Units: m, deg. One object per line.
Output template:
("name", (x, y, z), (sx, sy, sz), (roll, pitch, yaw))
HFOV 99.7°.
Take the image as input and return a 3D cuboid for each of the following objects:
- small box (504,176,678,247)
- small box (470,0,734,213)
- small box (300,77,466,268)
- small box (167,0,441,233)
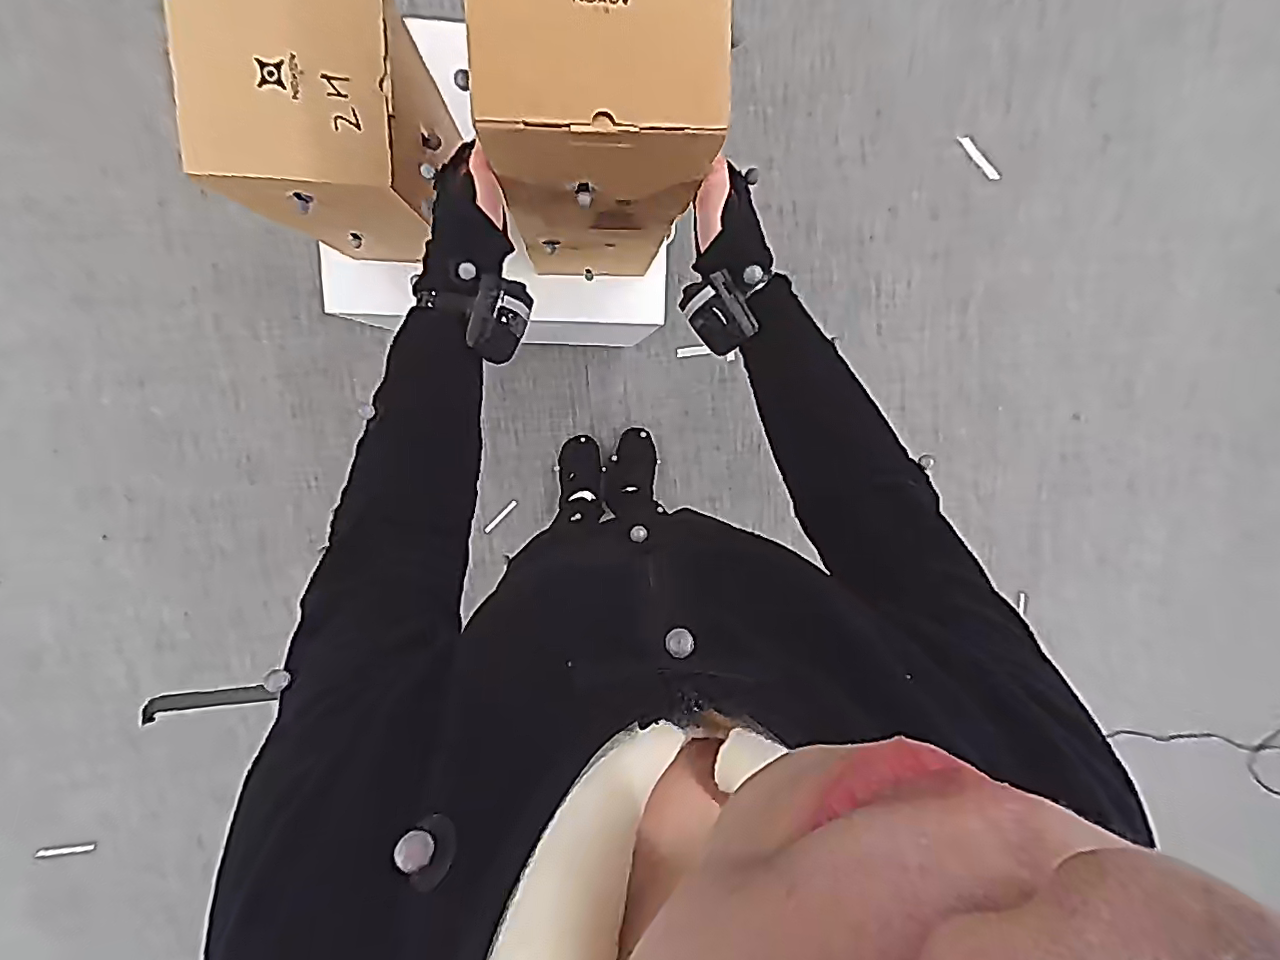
("small box", (-0.049, -0.353, 0.565), (0.168, 0.176, 0.179), (-1, 100, -6))
("small box", (-0.031, -0.321, 0.406), (0.168, 0.176, 0.179), (-2, 101, -6))
("small box", (-0.326, -0.389, 0.697), (0.168, 0.176, 0.179), (1, 99, -6))
("small box", (-0.310, -0.355, 0.537), (0.179, 0.176, 0.168), (1, 101, -6))
